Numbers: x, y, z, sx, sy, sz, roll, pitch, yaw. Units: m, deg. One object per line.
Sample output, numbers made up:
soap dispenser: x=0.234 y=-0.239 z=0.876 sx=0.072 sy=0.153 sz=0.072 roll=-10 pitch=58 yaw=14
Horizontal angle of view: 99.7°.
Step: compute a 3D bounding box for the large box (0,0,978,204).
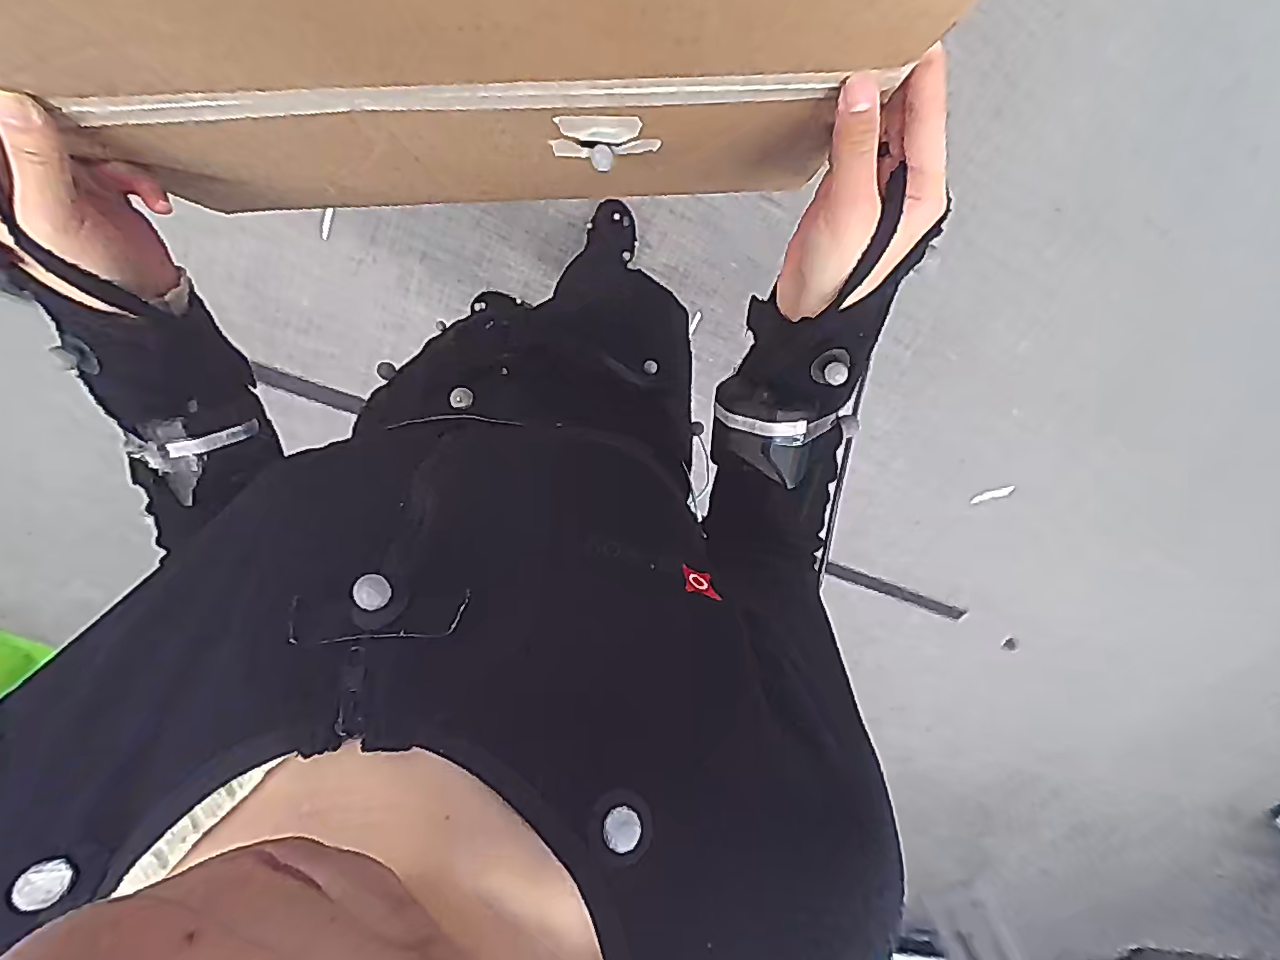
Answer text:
large box: x=-0.087 y=-0.323 z=0.206 sx=0.408 sy=0.320 sz=0.320 roll=-3 pitch=102 yaw=-1
